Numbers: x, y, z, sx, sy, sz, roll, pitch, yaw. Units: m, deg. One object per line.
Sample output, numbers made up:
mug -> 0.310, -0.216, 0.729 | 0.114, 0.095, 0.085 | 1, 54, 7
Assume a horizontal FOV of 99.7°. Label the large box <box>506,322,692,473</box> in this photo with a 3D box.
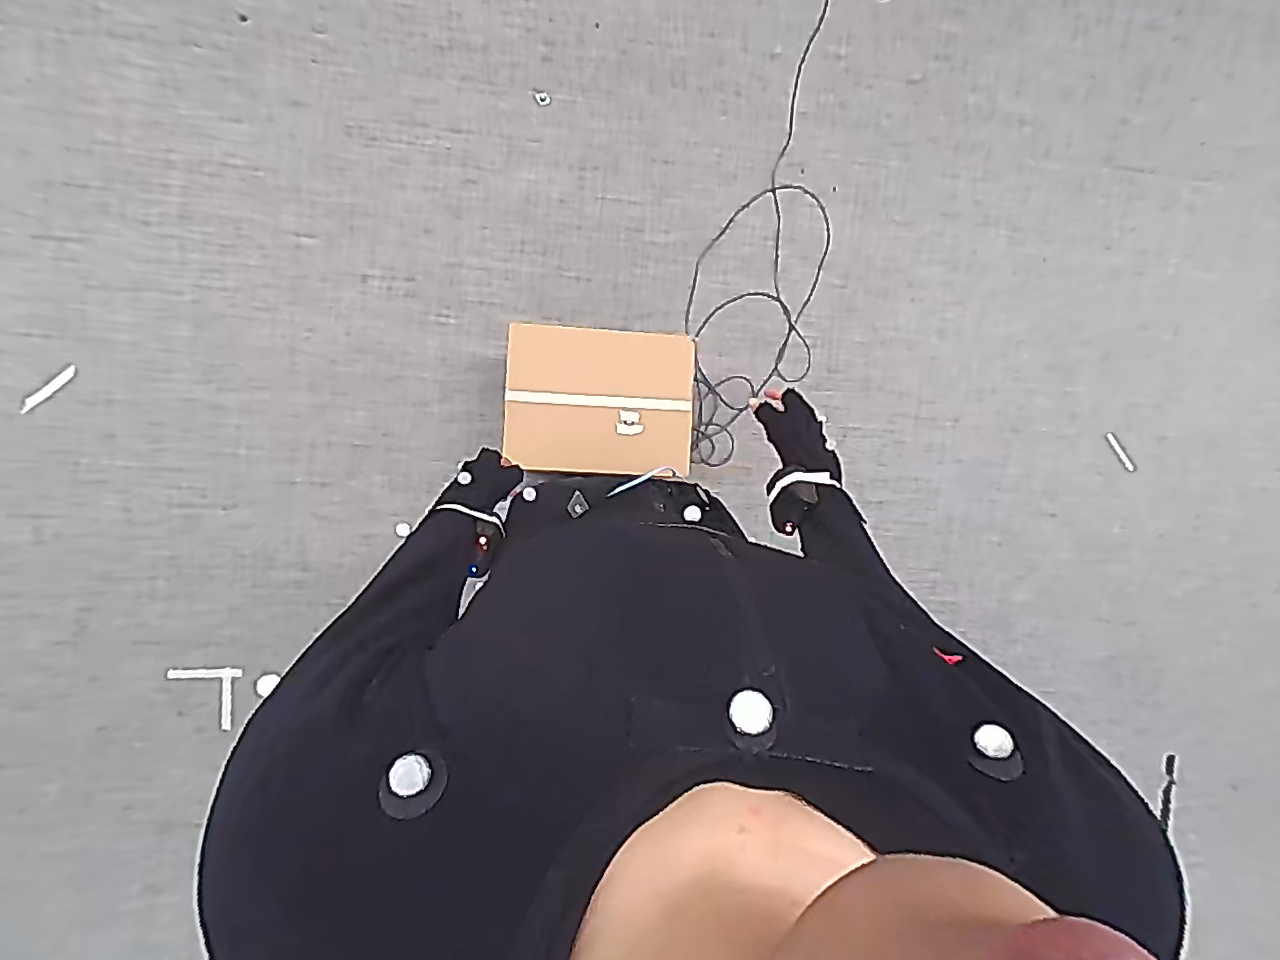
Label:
large box -> -0.103, -0.180, 1.329 | 0.408, 0.320, 0.320 | 3, 90, -6
